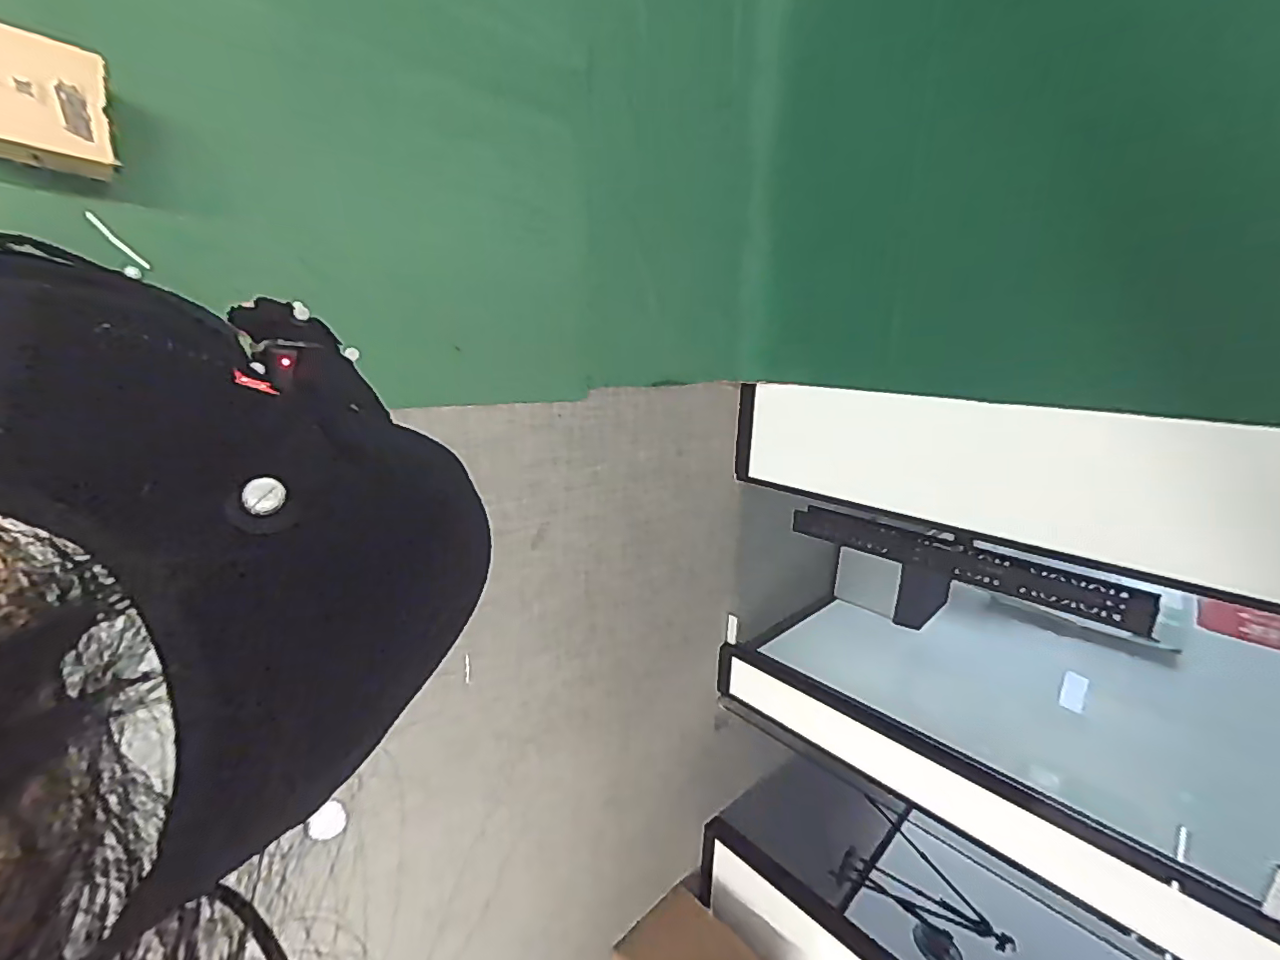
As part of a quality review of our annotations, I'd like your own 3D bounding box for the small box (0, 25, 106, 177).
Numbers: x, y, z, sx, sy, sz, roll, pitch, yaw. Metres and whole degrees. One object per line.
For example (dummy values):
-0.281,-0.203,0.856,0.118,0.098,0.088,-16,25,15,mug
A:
-1.011,-0.619,0.888,0.179,0.176,0.168,-6,106,-44,small box
